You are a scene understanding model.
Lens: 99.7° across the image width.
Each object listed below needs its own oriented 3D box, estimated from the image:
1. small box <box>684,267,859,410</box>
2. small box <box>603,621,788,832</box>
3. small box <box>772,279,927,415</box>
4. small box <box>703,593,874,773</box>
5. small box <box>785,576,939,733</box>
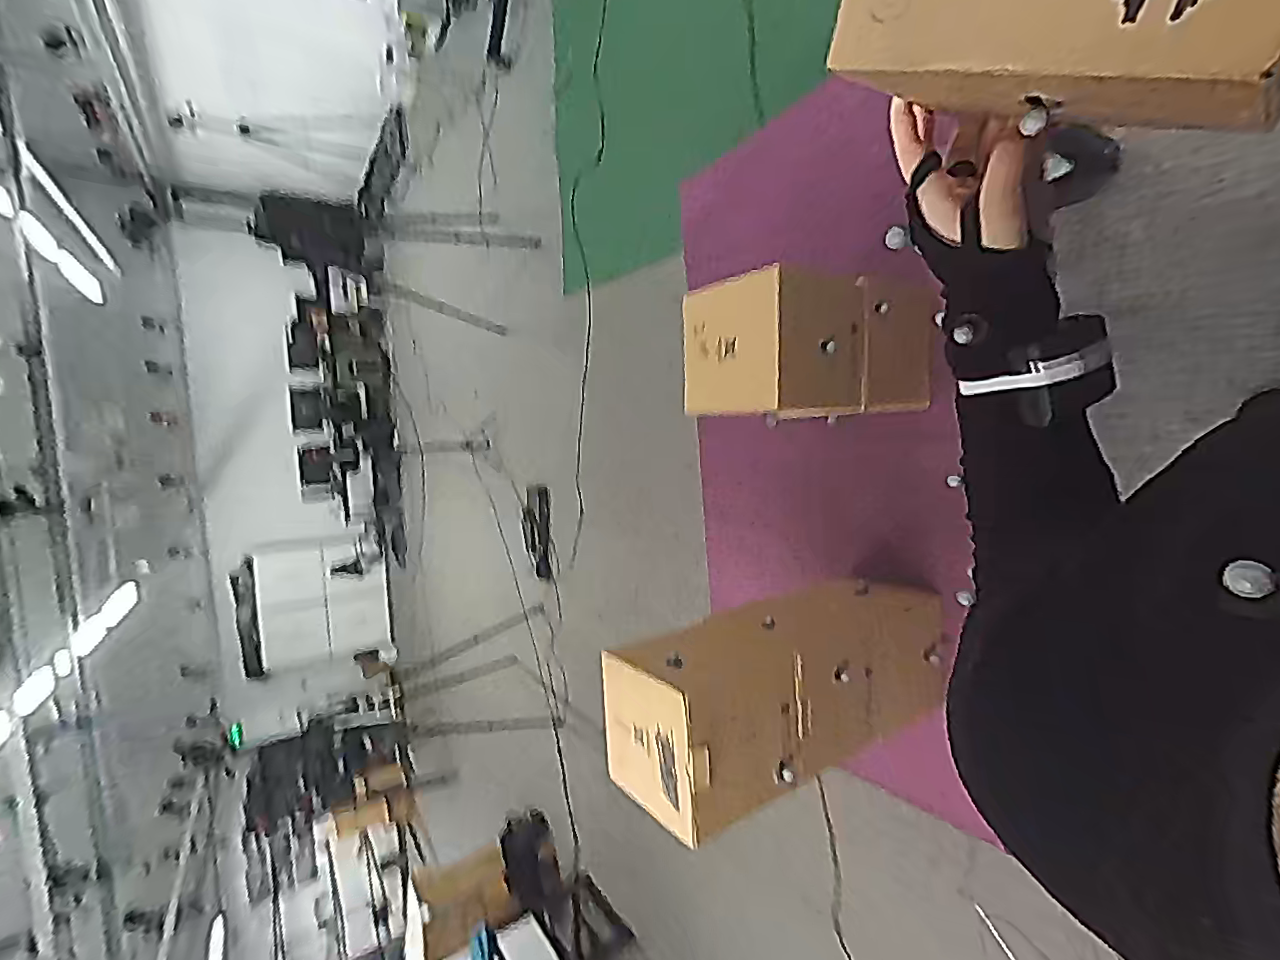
[{"bbox_3d":[0.180,-0.182,0.747,0.179,0.176,0.168,8,101,56],"label":"small box"},{"bbox_3d":[0.072,0.287,0.681,0.179,0.176,0.168,0,93,57],"label":"small box"},{"bbox_3d":[0.320,-0.194,0.834,0.168,0.176,0.179,4,98,56],"label":"small box"},{"bbox_3d":[0.210,0.268,0.767,0.179,0.176,0.168,6,99,56],"label":"small box"},{"bbox_3d":[0.349,0.258,0.854,0.168,0.176,0.179,3,96,56],"label":"small box"}]
